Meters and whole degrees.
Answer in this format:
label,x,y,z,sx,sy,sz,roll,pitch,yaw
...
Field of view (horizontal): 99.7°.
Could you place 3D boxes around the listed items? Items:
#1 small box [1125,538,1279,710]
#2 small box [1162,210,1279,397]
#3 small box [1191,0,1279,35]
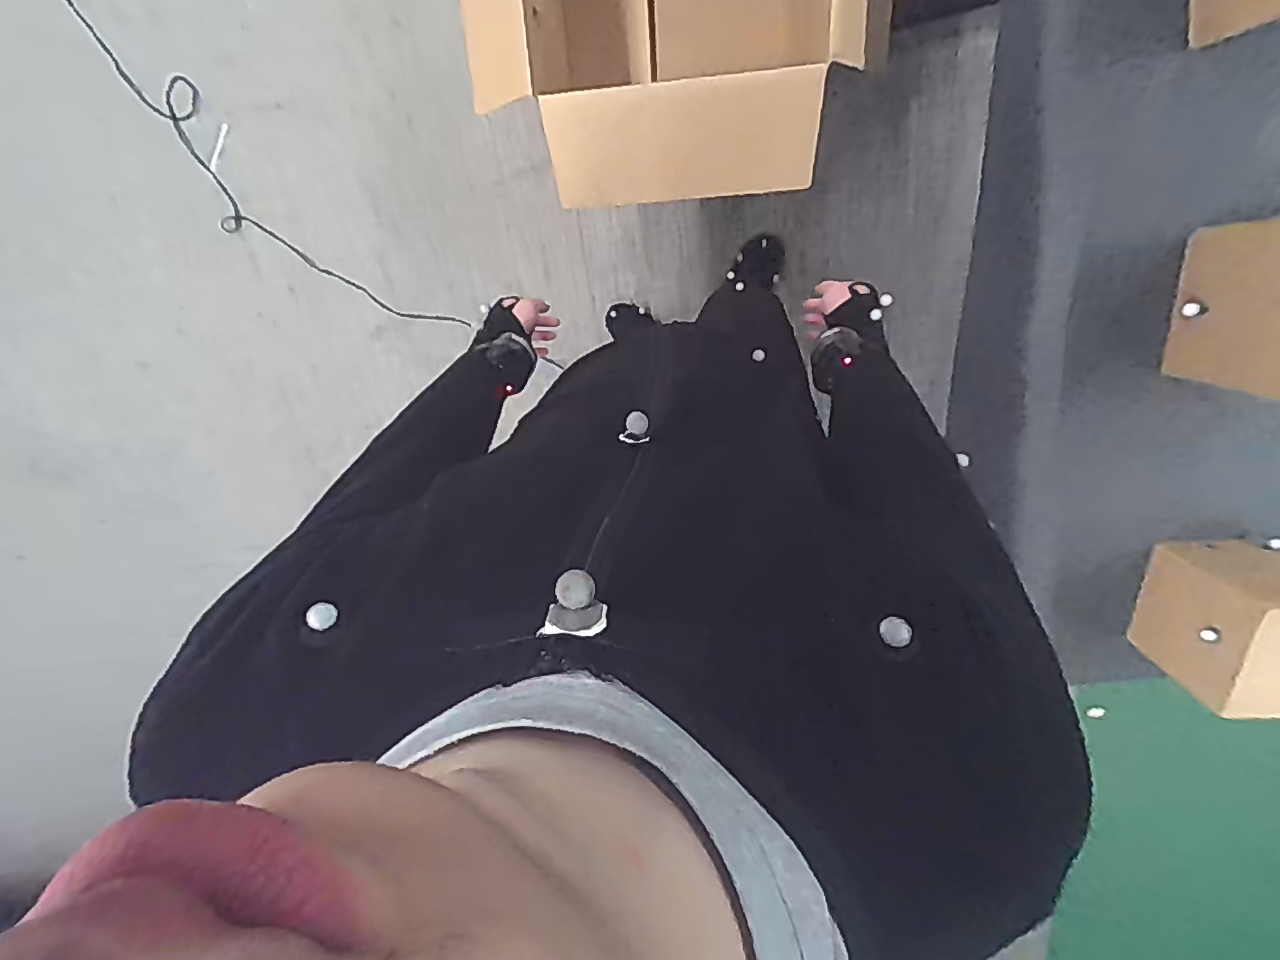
label,x,y,z,sx,sy,sz,roll,pitch,yaw
small box,0.833,0.190,0.748,0.168,0.176,0.179,-2,113,6
small box,0.742,-0.204,0.597,0.168,0.176,0.179,-6,112,7
small box,0.645,-0.537,0.470,0.179,0.176,0.168,-17,112,9
